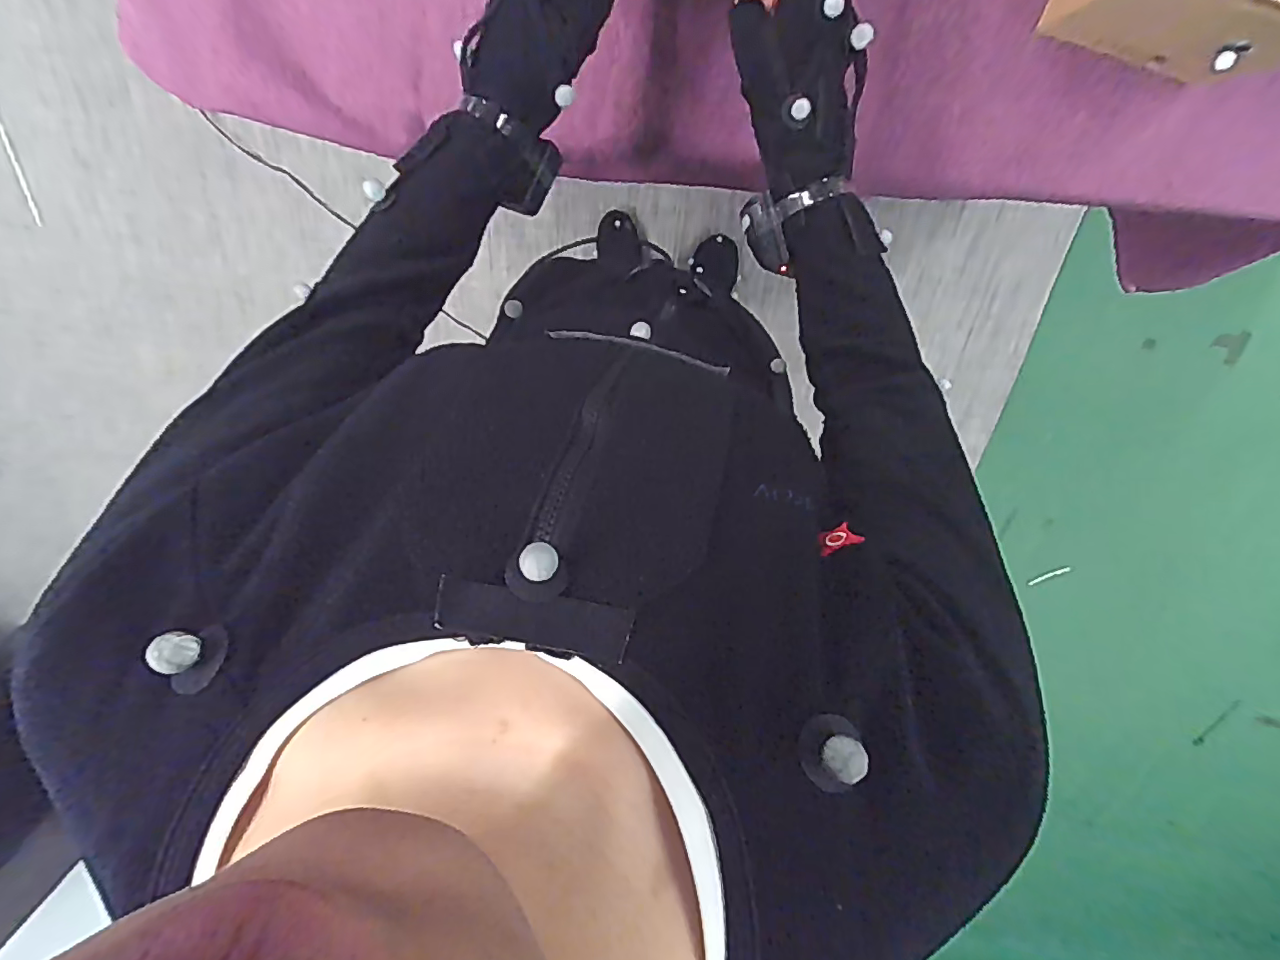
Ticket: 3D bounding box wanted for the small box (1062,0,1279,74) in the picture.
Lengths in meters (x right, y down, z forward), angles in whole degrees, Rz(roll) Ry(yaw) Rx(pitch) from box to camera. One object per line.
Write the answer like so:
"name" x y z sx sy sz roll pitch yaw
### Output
"small box" 0.458 -0.427 0.388 0.168 0.176 0.179 16 118 -3
